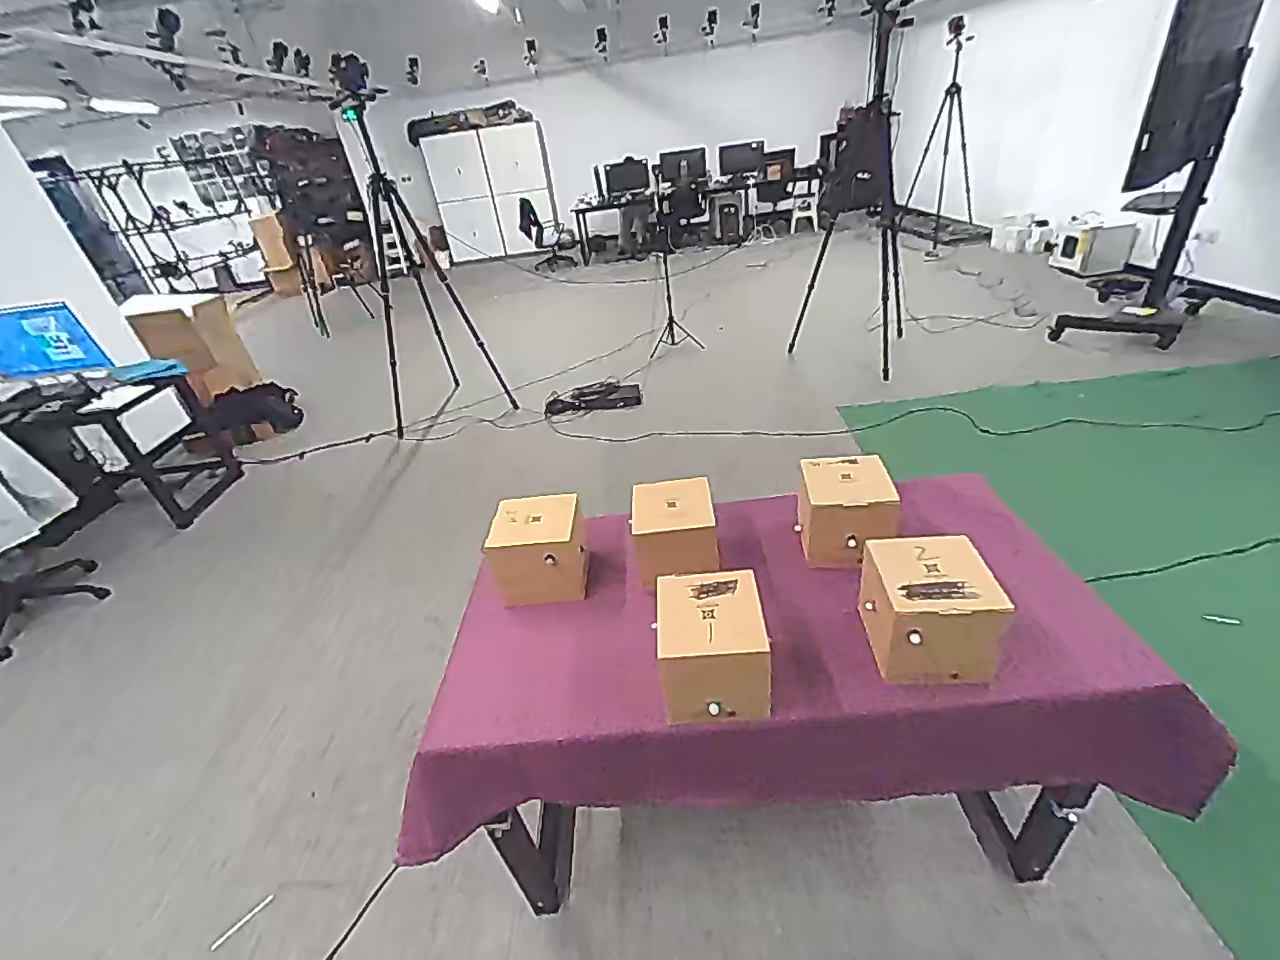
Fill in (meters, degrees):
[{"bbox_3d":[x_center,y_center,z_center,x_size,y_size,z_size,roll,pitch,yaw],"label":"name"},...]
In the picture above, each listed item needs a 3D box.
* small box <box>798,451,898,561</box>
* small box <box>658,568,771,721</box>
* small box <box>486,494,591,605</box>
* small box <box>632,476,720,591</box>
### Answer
[{"bbox_3d":[0.430,0.058,1.143,0.168,0.176,0.179,-3,34,10],"label":"small box"},{"bbox_3d":[0.121,0.271,0.898,0.168,0.176,0.179,-6,33,6],"label":"small box"},{"bbox_3d":[-0.207,0.150,1.170,0.179,0.176,0.168,-6,33,5],"label":"small box"},{"bbox_3d":[0.078,0.113,1.157,0.168,0.176,0.179,-7,33,5],"label":"small box"}]
